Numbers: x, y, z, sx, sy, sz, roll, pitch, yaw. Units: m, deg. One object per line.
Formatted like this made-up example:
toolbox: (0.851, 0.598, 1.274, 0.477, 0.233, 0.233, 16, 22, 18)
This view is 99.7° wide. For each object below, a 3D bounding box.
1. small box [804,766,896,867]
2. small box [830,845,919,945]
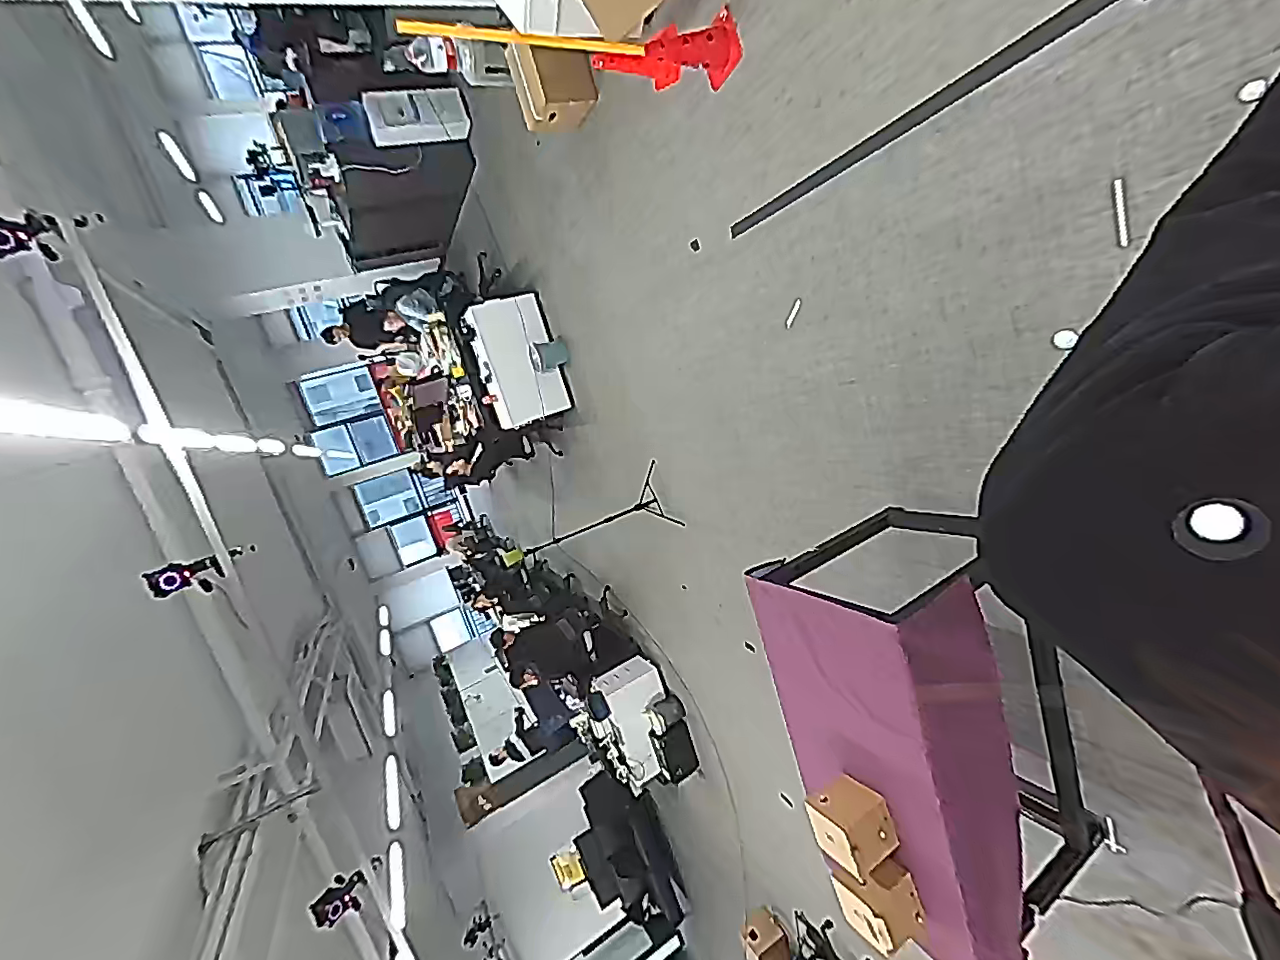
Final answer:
small box: (0.640, 1.016, 1.653, 0.179, 0.176, 0.168, -4, 107, 65)
small box: (0.731, 1.255, 1.672, 0.179, 0.176, 0.168, -13, 98, 67)
